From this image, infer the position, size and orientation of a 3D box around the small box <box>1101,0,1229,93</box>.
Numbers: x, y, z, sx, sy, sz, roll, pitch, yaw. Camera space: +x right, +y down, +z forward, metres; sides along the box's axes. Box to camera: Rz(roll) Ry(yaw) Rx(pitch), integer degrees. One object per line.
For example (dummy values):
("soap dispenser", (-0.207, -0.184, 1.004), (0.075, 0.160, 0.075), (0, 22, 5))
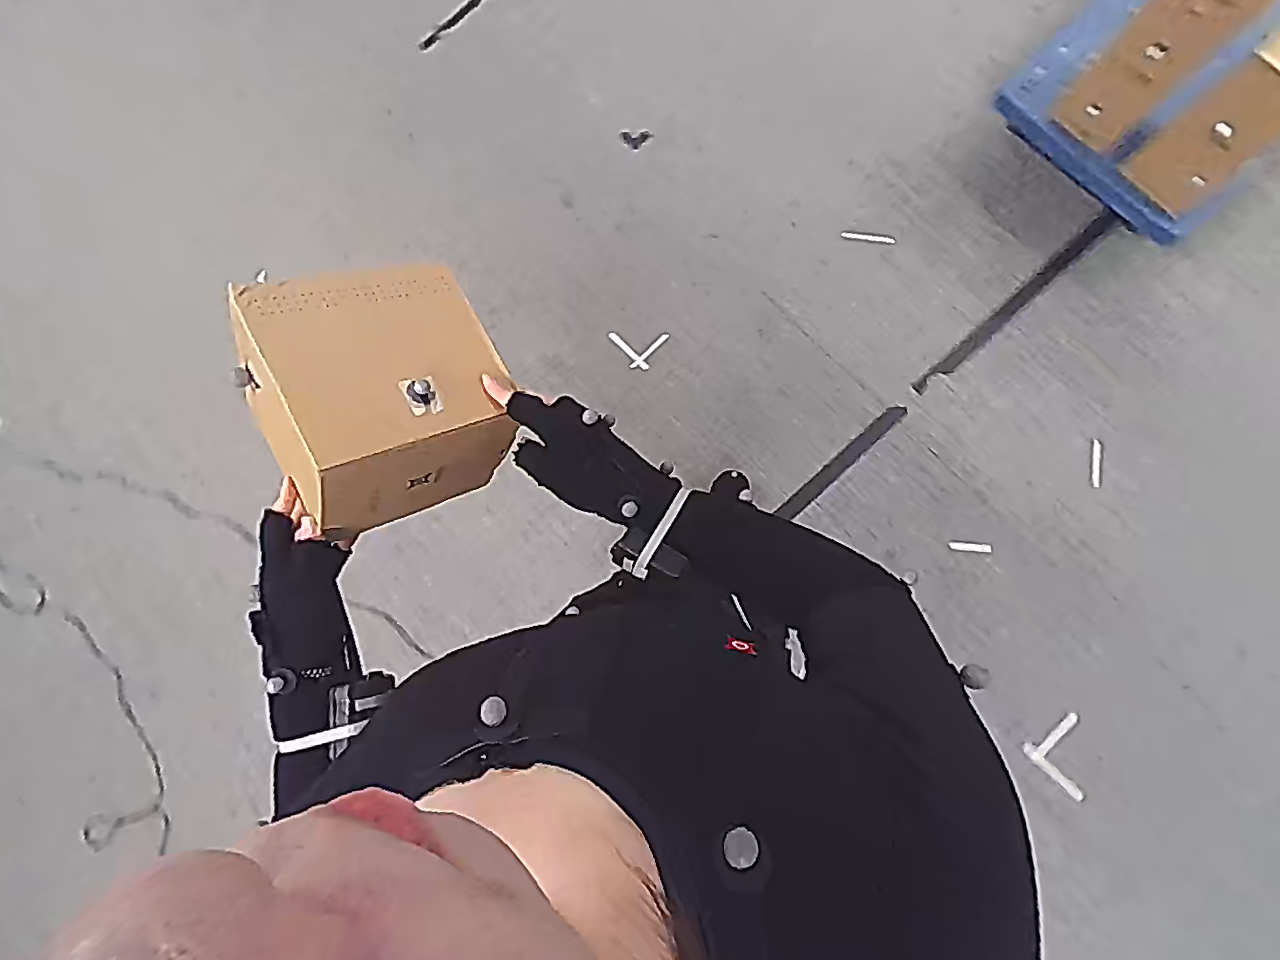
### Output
("small box", (1.094, -0.943, 1.090), (0.168, 0.176, 0.179), (44, 90, 7))

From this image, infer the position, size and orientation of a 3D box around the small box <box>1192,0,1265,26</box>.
("small box", (1.091, -0.954, 0.927), (0.179, 0.176, 0.168), (-44, 83, 0))

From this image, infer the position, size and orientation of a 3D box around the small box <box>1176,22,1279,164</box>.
("small box", (1.240, -0.779, 1.063), (0.179, 0.176, 0.168), (-41, 83, 0))

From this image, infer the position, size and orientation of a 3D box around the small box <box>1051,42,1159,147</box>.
("small box", (1.109, -0.927, 1.253), (0.179, 0.176, 0.168), (-45, 84, -1))

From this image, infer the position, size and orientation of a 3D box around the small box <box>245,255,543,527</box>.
("small box", (-0.224, -0.084, 0.495), (0.179, 0.168, 0.176), (-23, 80, -38))
